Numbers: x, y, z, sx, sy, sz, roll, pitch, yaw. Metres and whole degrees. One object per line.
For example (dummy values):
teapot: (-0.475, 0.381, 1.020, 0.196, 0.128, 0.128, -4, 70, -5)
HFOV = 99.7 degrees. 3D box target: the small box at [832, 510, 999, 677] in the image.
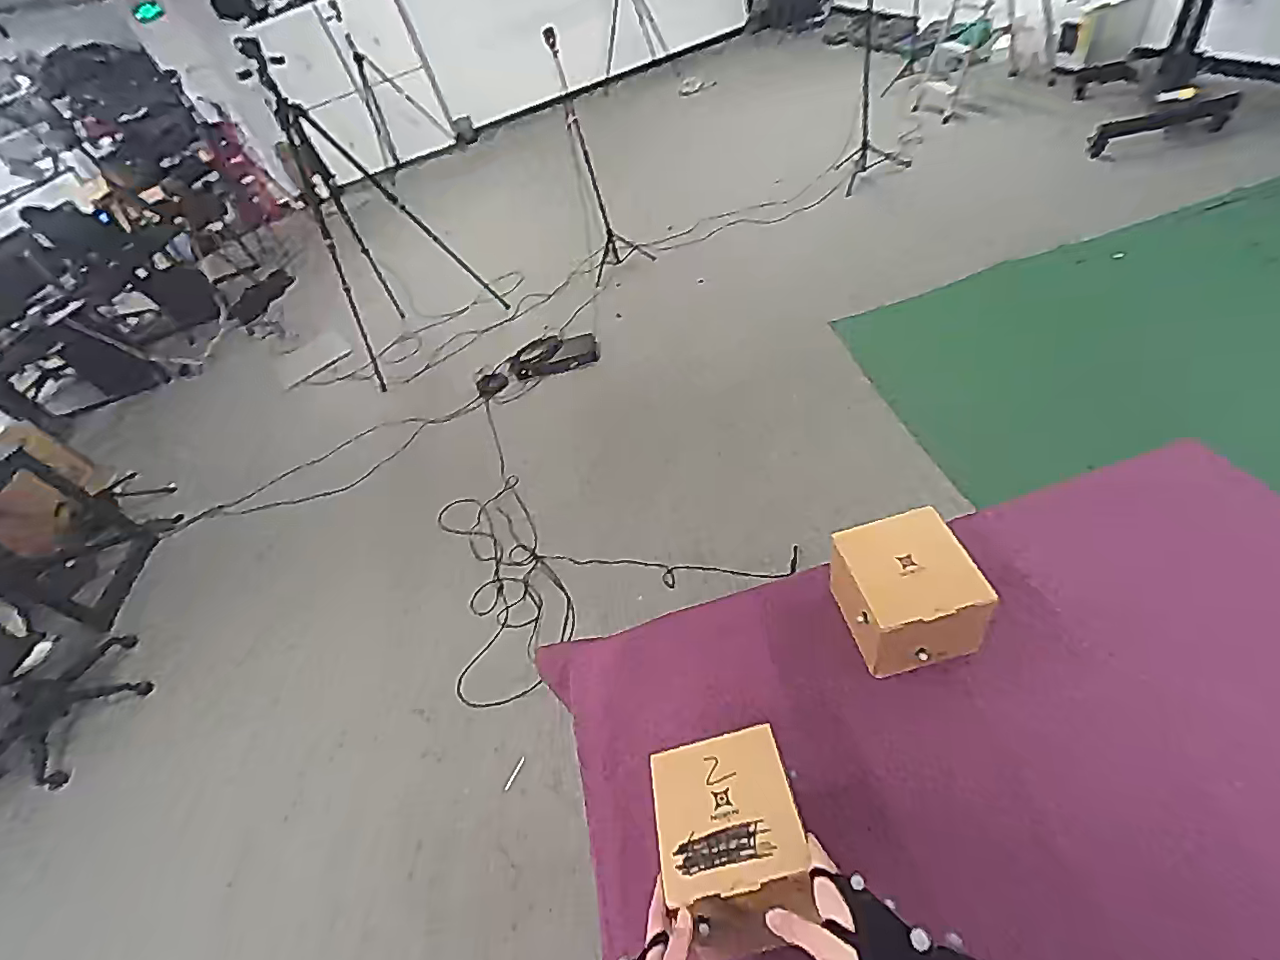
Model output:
small box: (0.414, 0.181, 0.851, 0.168, 0.176, 0.179, -17, 47, 3)
